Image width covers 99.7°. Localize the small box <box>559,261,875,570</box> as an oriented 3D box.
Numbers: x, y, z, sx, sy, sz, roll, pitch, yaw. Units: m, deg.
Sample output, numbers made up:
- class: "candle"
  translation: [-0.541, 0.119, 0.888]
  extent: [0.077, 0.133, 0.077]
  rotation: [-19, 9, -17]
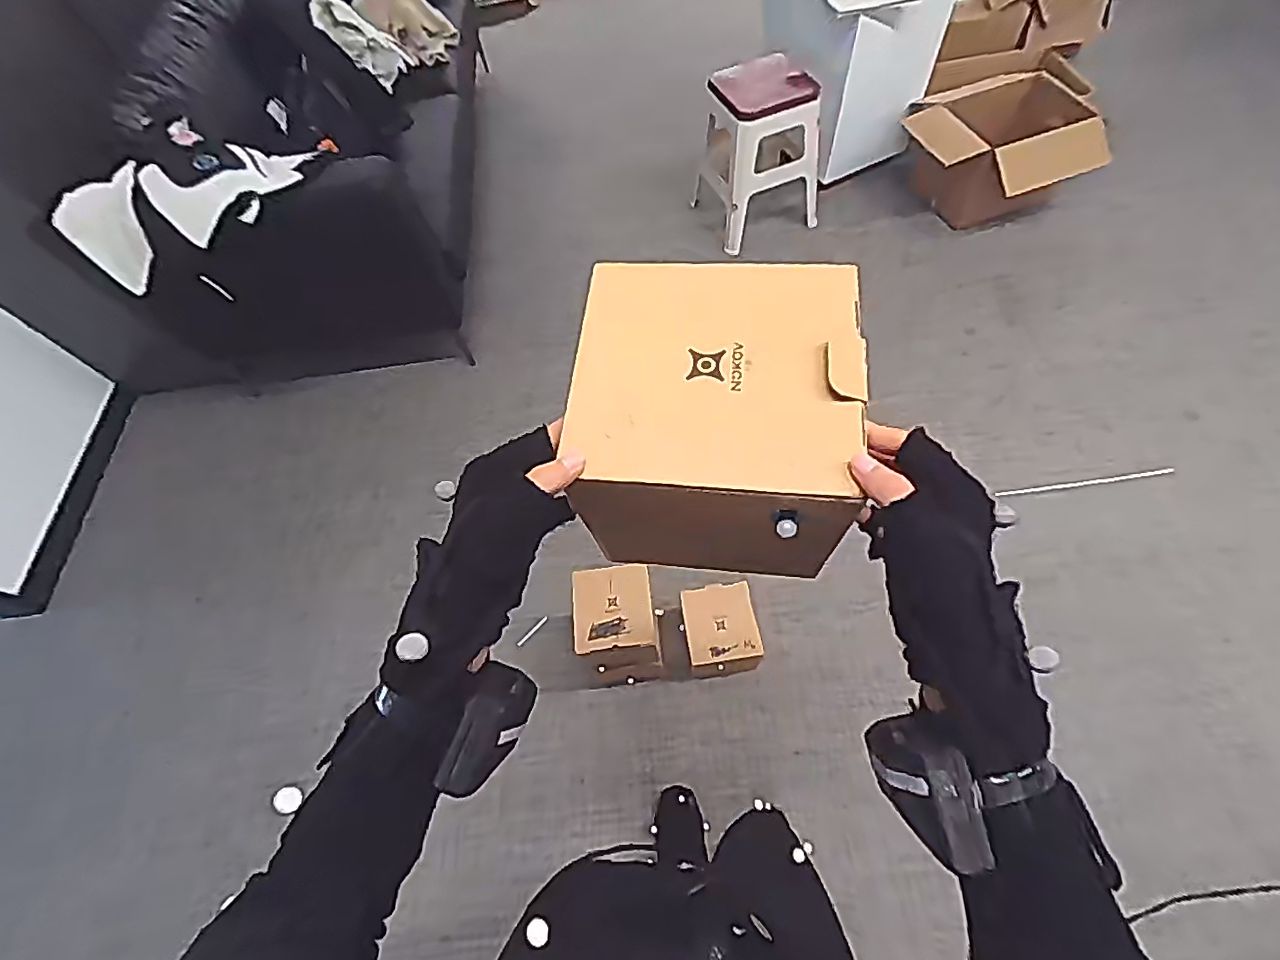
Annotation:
- class: "small box"
  translation: [0.055, -0.037, 0.400]
  extent: [0.179, 0.176, 0.168]
  rotation: [3, 66, 8]
